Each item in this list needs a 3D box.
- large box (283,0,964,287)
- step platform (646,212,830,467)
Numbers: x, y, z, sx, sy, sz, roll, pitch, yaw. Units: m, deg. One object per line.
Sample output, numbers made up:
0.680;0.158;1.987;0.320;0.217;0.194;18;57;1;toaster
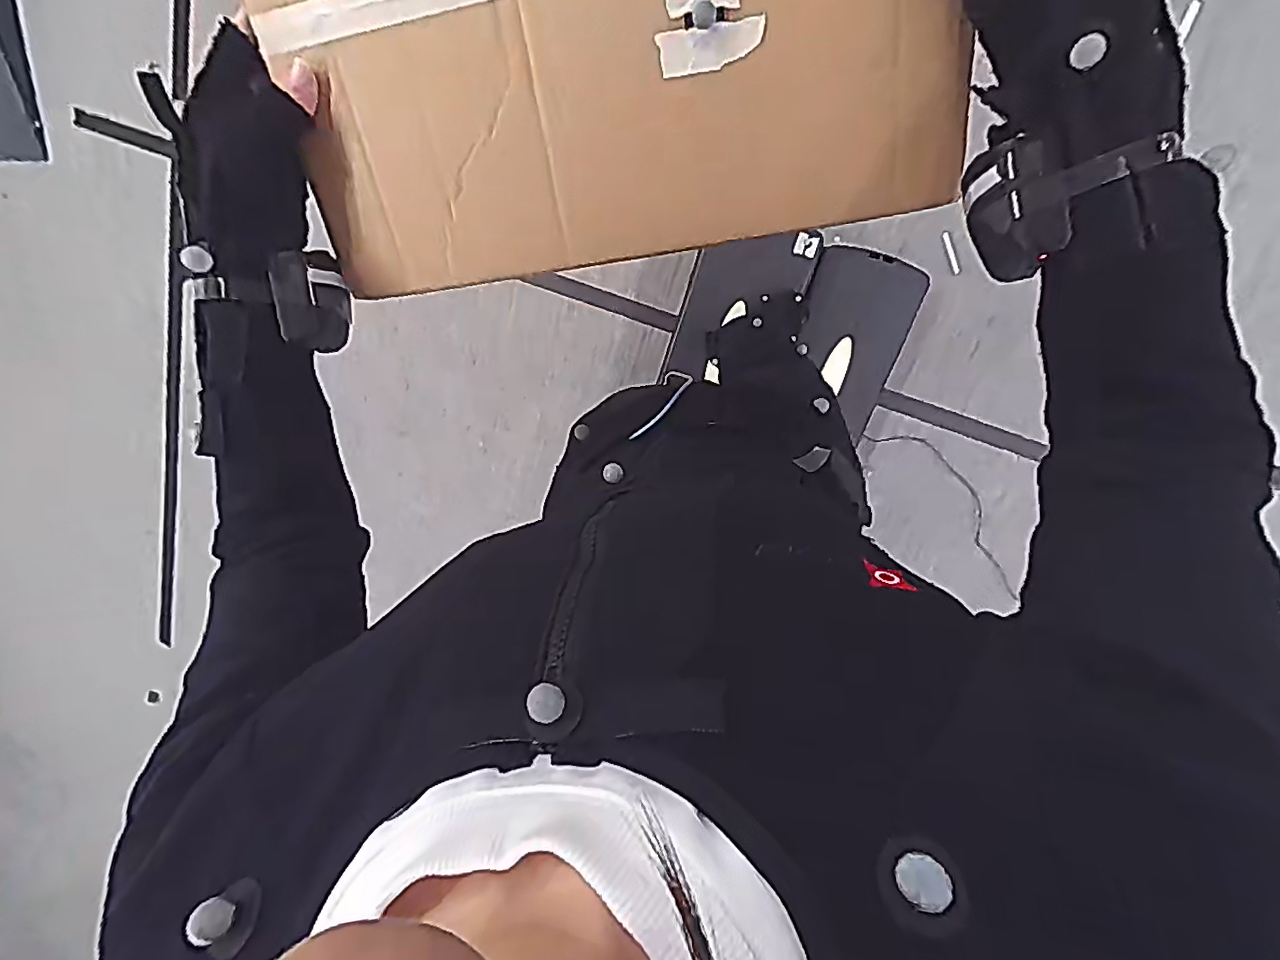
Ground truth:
-0.008;-0.361;0.440;0.408;0.320;0.320;-5;114;11;large box
0.239;-0.380;1.418;0.286;0.204;0.684;18;106;4;step platform
